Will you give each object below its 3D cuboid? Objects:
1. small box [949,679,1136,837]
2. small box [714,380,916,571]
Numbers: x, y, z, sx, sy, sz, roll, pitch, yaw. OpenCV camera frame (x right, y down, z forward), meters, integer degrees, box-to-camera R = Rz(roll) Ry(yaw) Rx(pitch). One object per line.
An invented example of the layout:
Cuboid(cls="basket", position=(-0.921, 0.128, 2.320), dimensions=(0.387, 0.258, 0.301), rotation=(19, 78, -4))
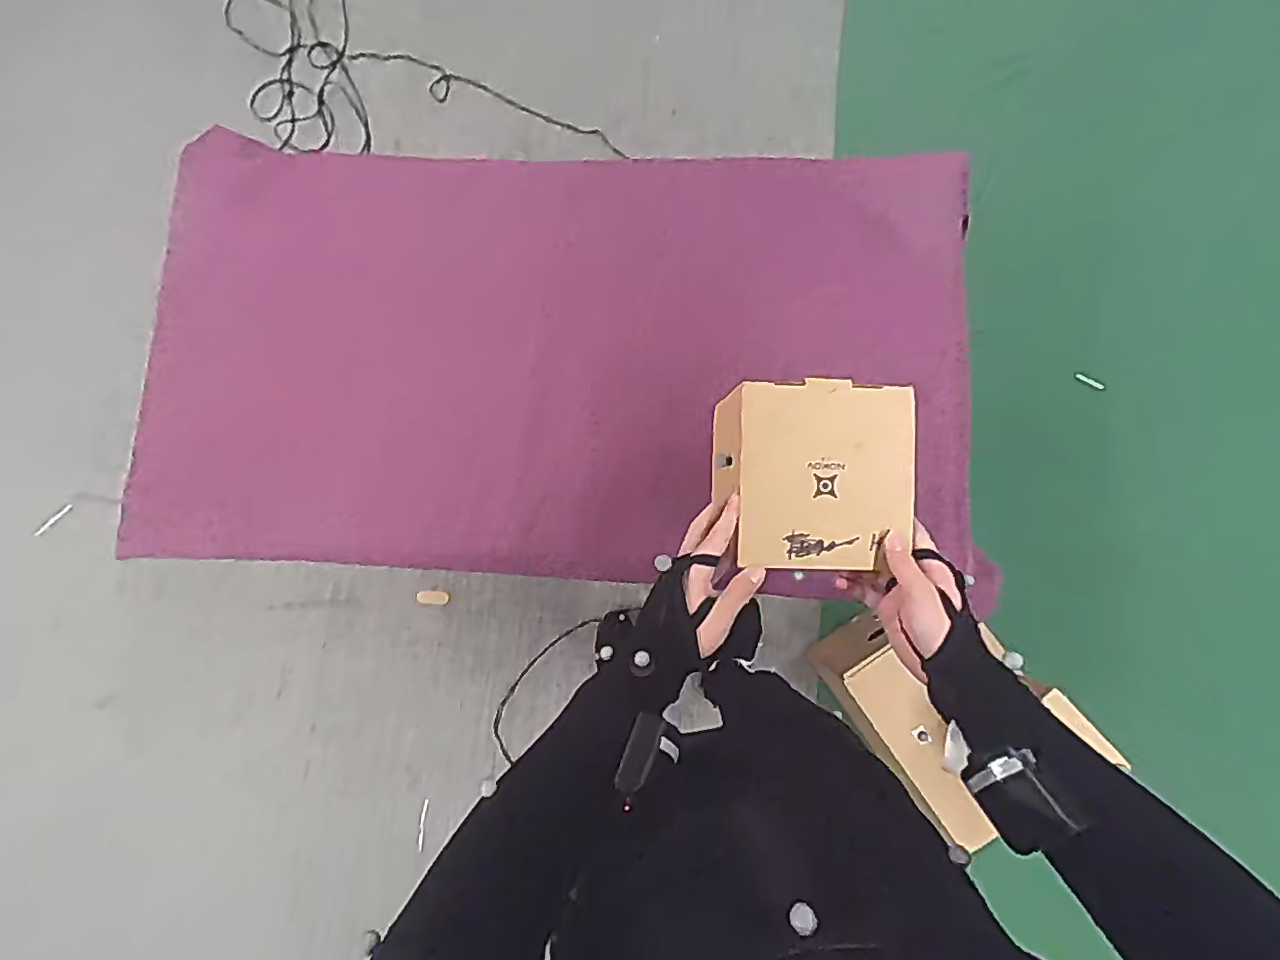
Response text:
Cuboid(cls="small box", position=(0.714, 0.487, 0.985), dimensions=(0.168, 0.176, 0.179), rotation=(-40, 82, -3))
Cuboid(cls="small box", position=(0.174, -0.003, 0.586), dimensions=(0.168, 0.176, 0.179), rotation=(2, 89, 0))
